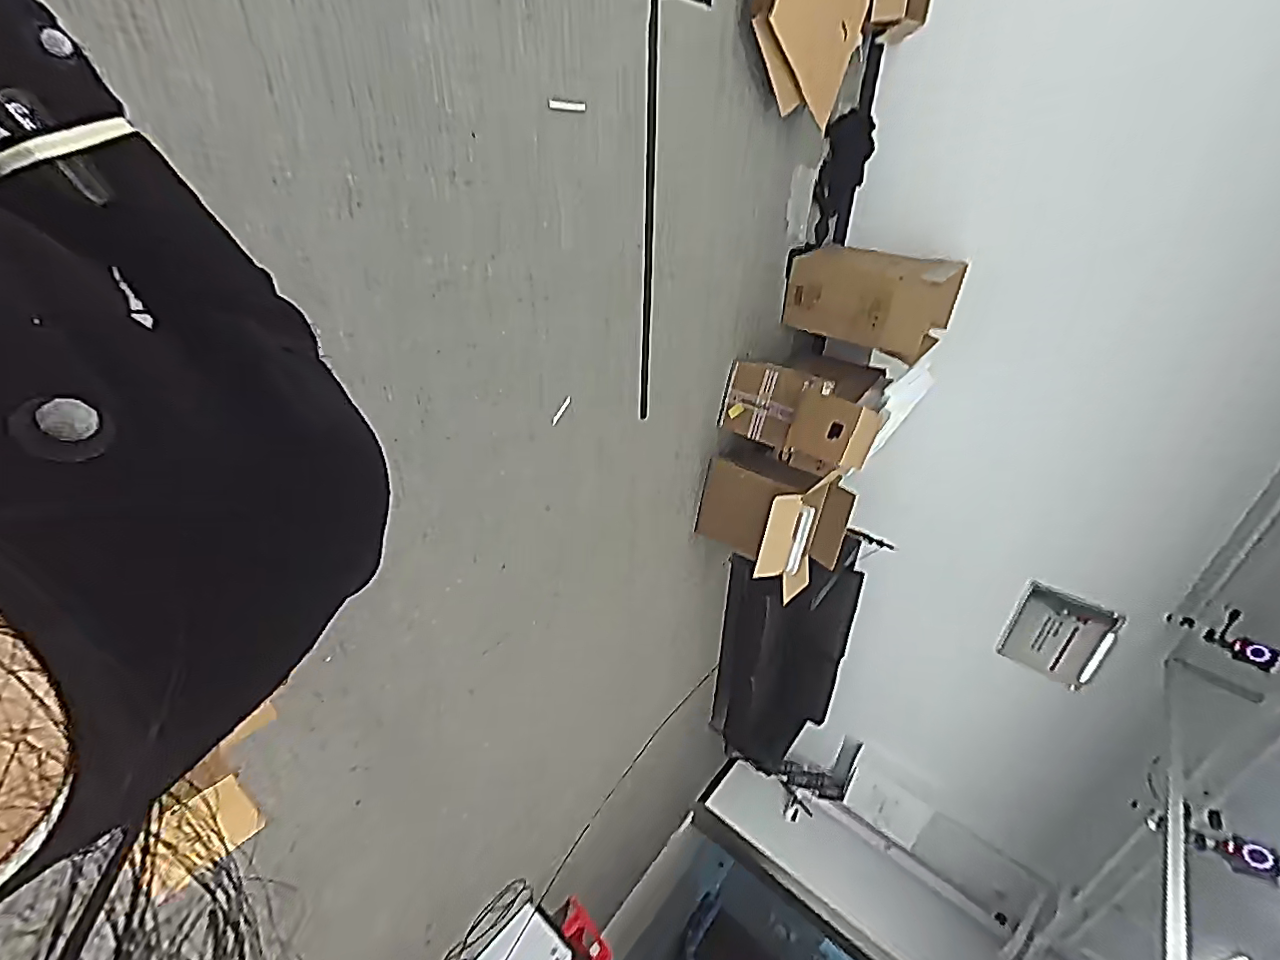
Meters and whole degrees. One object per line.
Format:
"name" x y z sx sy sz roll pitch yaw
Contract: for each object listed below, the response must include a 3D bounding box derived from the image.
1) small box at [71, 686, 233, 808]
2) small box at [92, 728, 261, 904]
"small box" -0.956 0.547 1.065 0.179 0.176 0.168 -31 132 -40
"small box" -0.829 0.592 0.974 0.168 0.176 0.179 -31 132 -41
